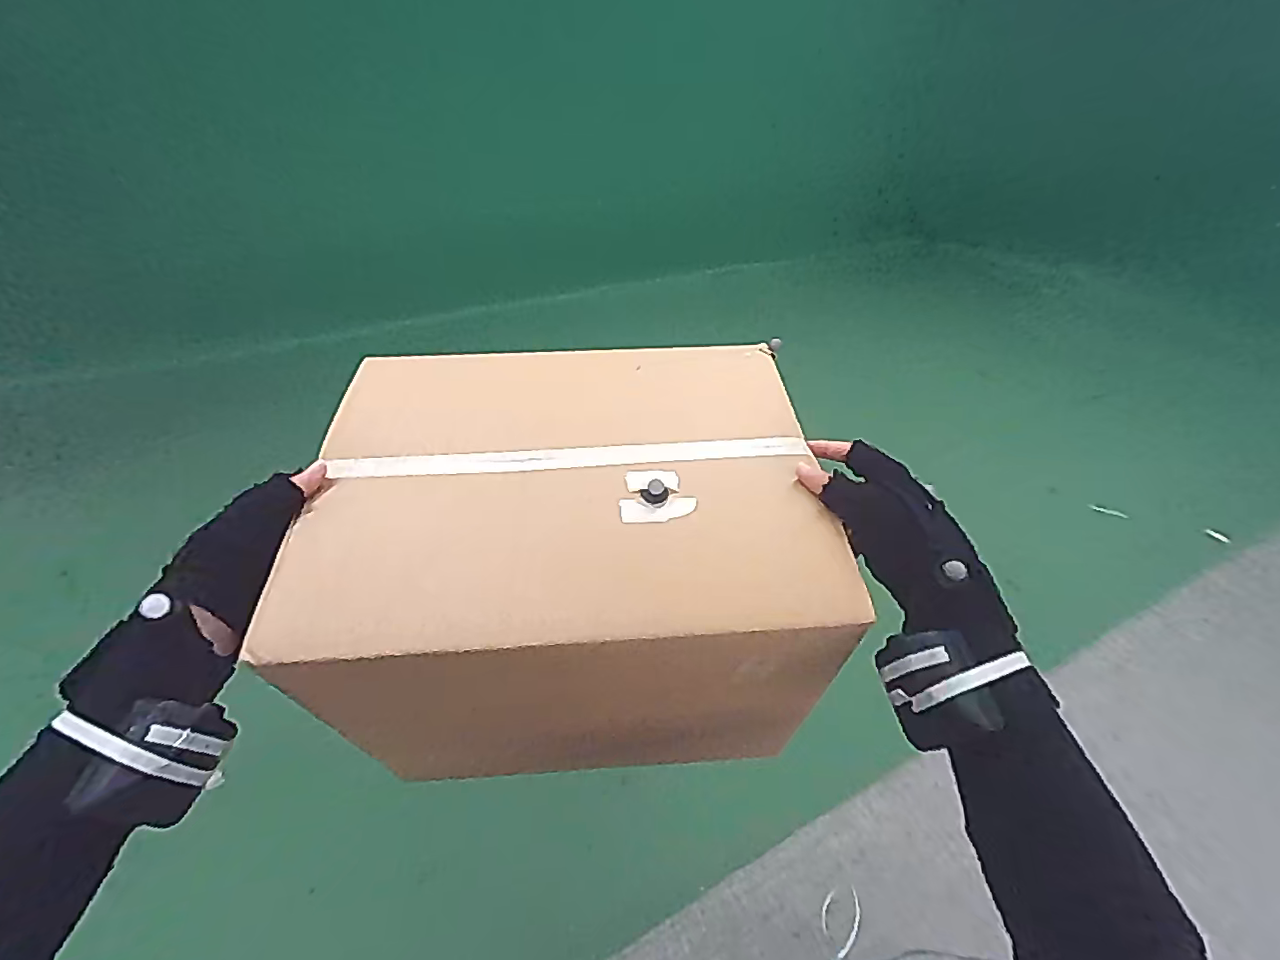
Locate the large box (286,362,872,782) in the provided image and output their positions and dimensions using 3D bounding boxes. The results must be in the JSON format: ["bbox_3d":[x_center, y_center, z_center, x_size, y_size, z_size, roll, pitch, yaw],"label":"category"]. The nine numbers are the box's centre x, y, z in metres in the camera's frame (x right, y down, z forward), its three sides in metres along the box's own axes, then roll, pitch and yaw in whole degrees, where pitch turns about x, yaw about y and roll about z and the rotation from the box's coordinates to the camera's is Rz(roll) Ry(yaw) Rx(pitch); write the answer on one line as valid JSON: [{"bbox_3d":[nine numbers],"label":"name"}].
[{"bbox_3d":[-0.049,0.096,0.570,0.408,0.320,0.320,-2,48,-3],"label":"large box"}]
